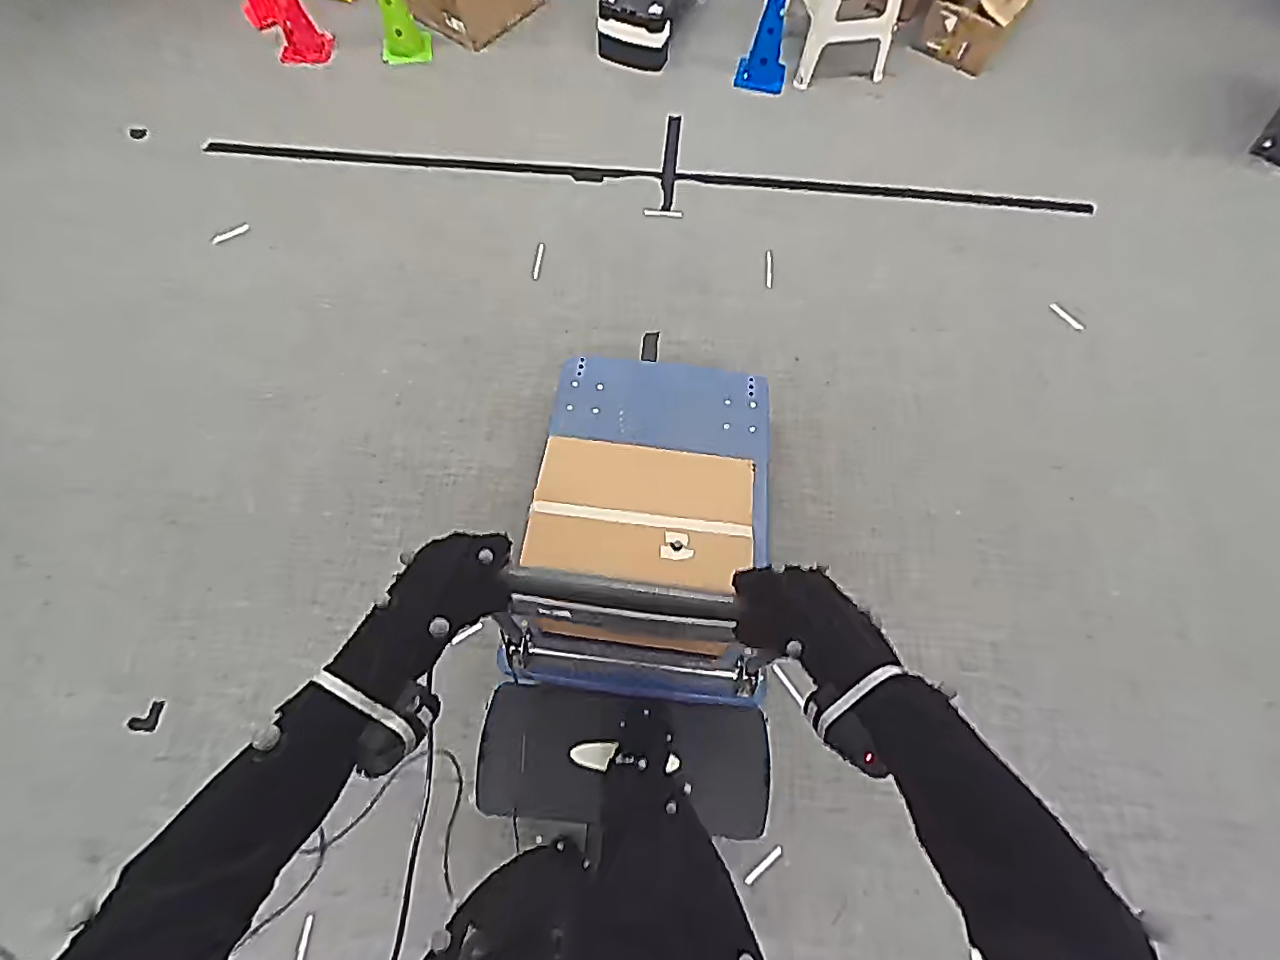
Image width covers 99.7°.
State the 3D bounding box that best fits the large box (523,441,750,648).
[{"bbox_3d":[-0.004,0.147,1.135,0.408,0.320,0.320,8,62,0],"label":"large box"}]
